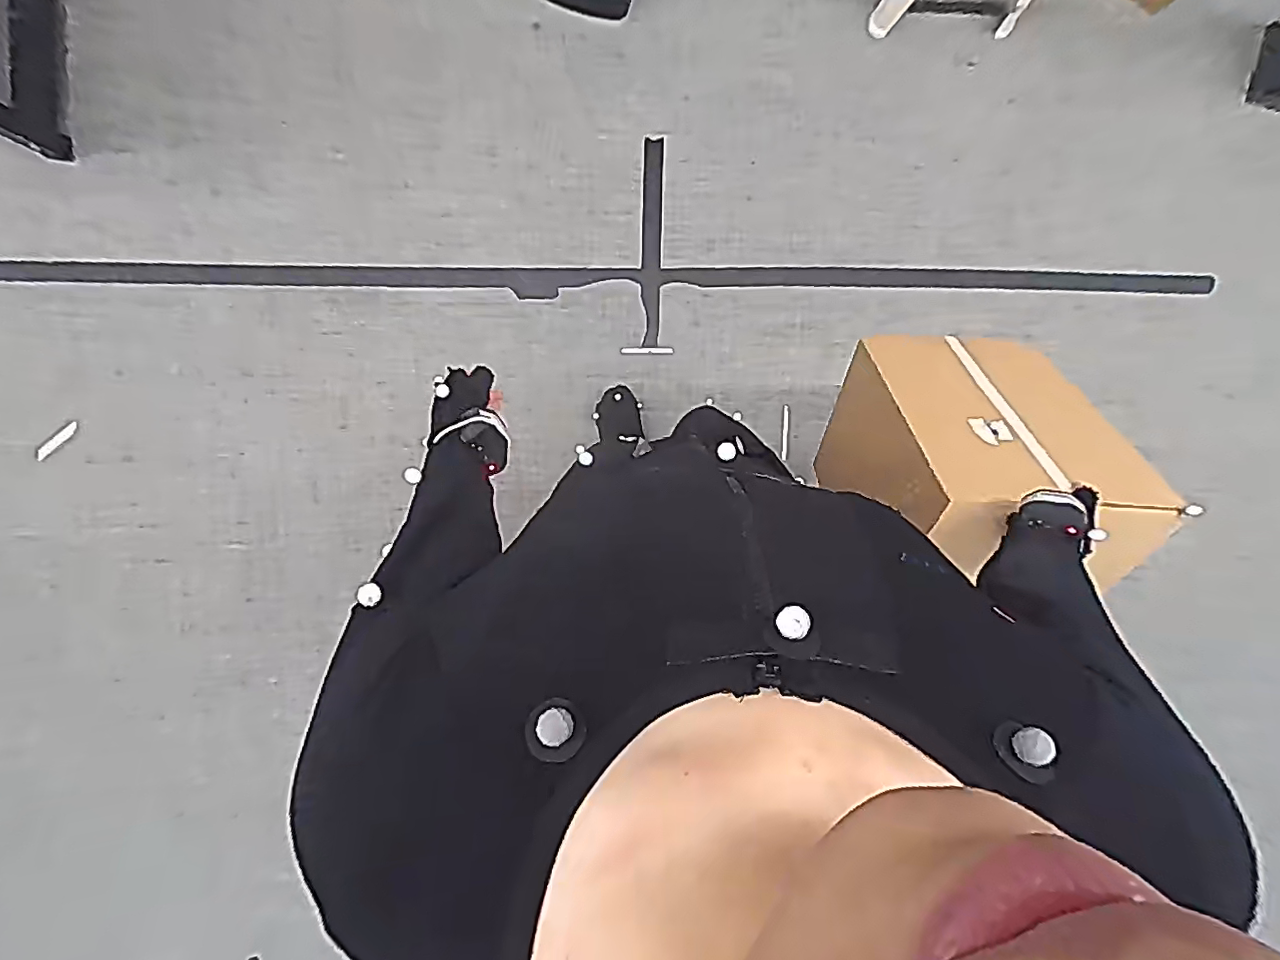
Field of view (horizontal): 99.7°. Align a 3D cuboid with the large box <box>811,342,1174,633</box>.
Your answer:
[{"bbox_3d":[0.531,0.007,0.937,0.320,0.408,0.320,2,136,-2],"label":"large box"}]
